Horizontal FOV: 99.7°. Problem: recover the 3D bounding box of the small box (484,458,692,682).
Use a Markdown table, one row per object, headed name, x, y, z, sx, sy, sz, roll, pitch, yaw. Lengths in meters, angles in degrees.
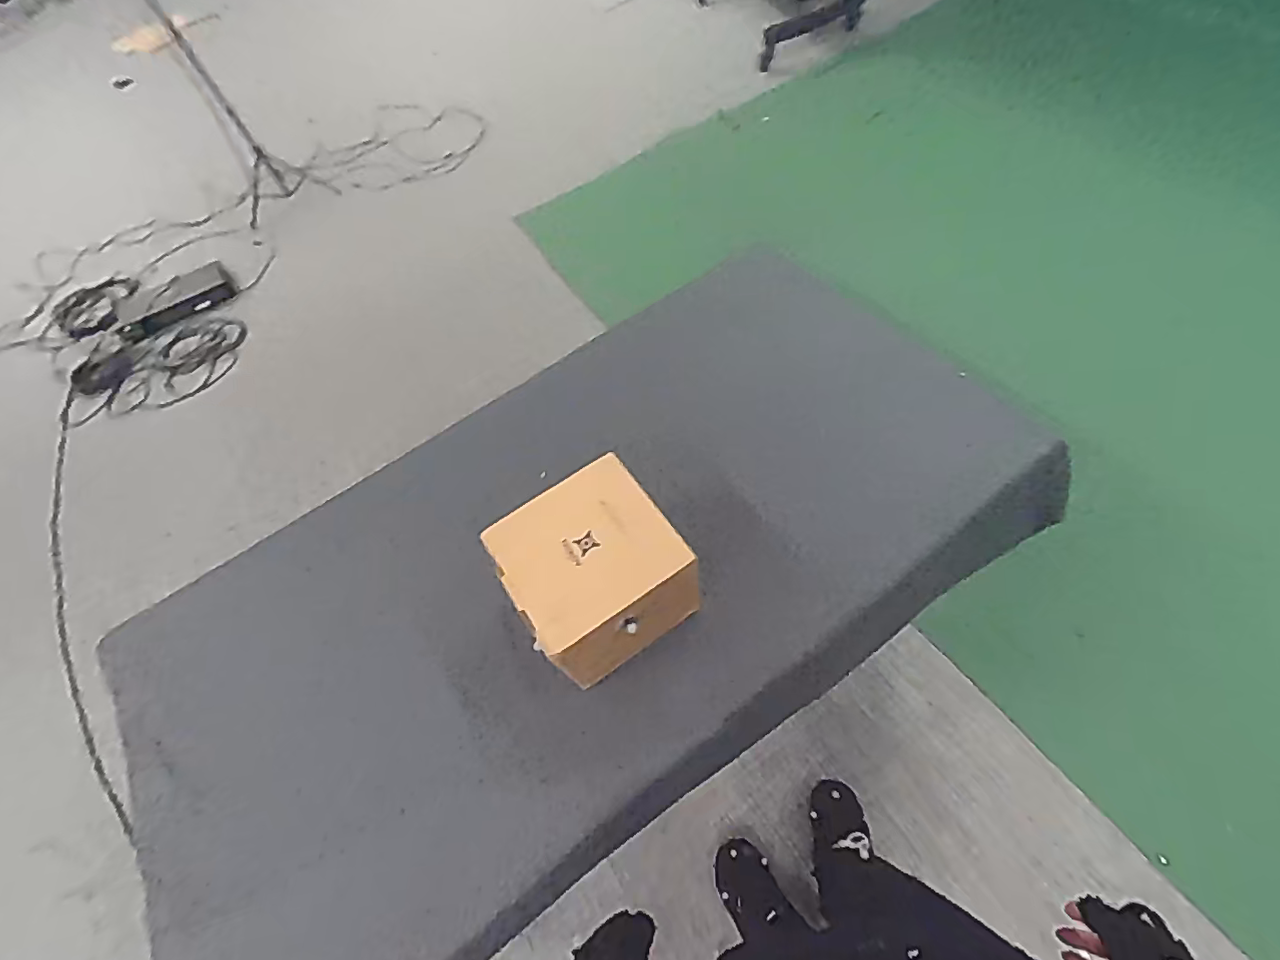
| name | x | y | z | sx | sy | sz | roll | pitch | yaw |
| --- | --- | --- | --- | --- | --- | --- | --- | --- | --- |
| small box | -0.051 | 0.114 | 0.646 | 0.179 | 0.176 | 0.168 | -33 | 60 | -13 |
